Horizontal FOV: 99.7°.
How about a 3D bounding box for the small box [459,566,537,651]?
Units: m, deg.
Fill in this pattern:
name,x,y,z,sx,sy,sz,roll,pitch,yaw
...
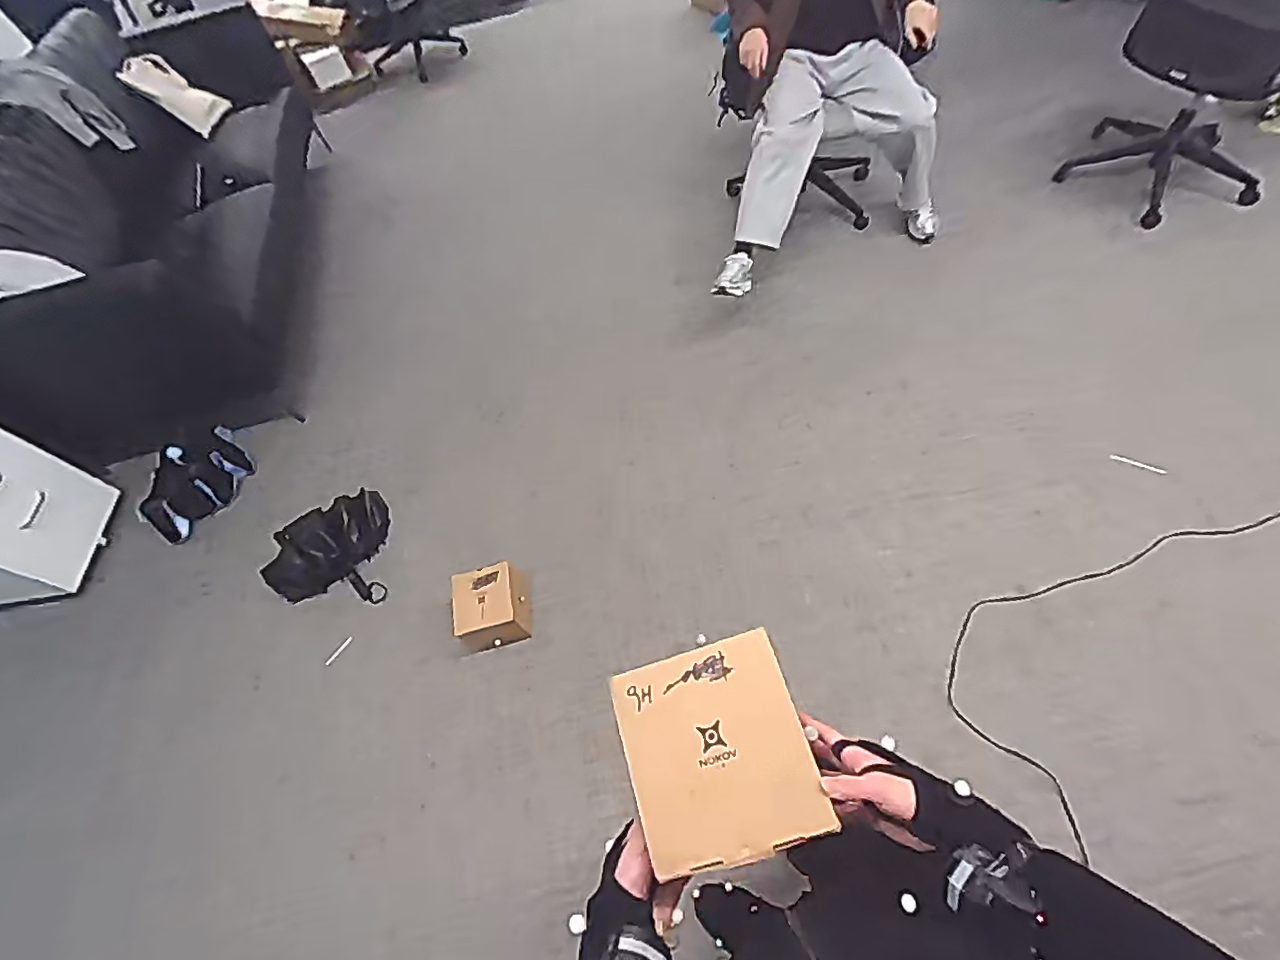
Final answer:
name,x,y,z,sx,sy,sz,roll,pitch,yaw
small box,-0.408,0.375,1.561,0.168,0.176,0.179,-16,59,1
